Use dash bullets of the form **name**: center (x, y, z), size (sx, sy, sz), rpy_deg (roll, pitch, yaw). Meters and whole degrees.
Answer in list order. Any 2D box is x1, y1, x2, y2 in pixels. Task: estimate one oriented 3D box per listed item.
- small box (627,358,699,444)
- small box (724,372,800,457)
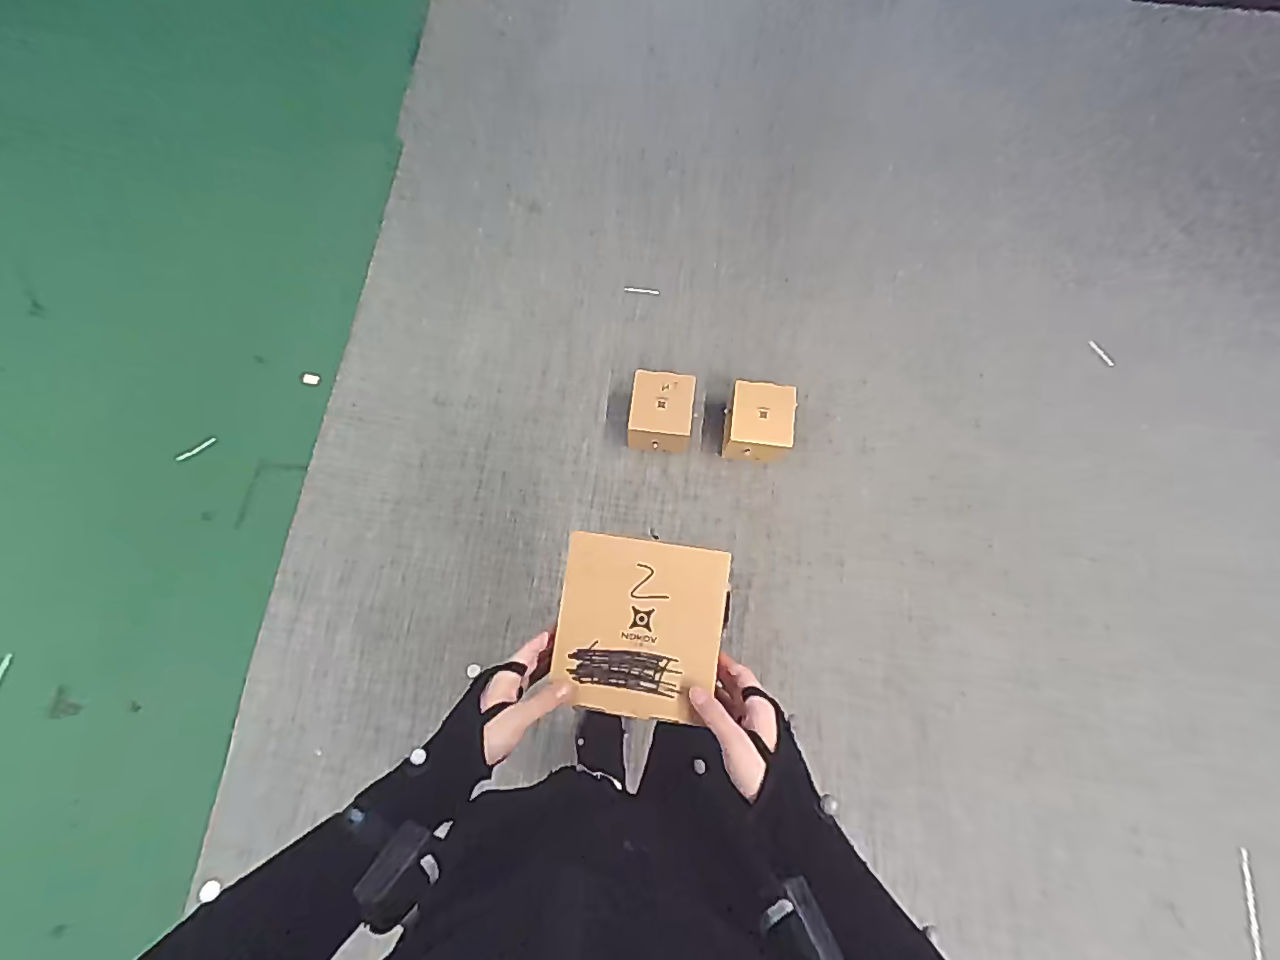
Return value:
- **small box**: center (0.062, -0.210, 1.484), size (0.168, 0.176, 0.179), rpy_deg (9, 76, 2)
- **small box**: center (0.327, -0.172, 1.477), size (0.168, 0.176, 0.179), rpy_deg (9, 76, 3)
